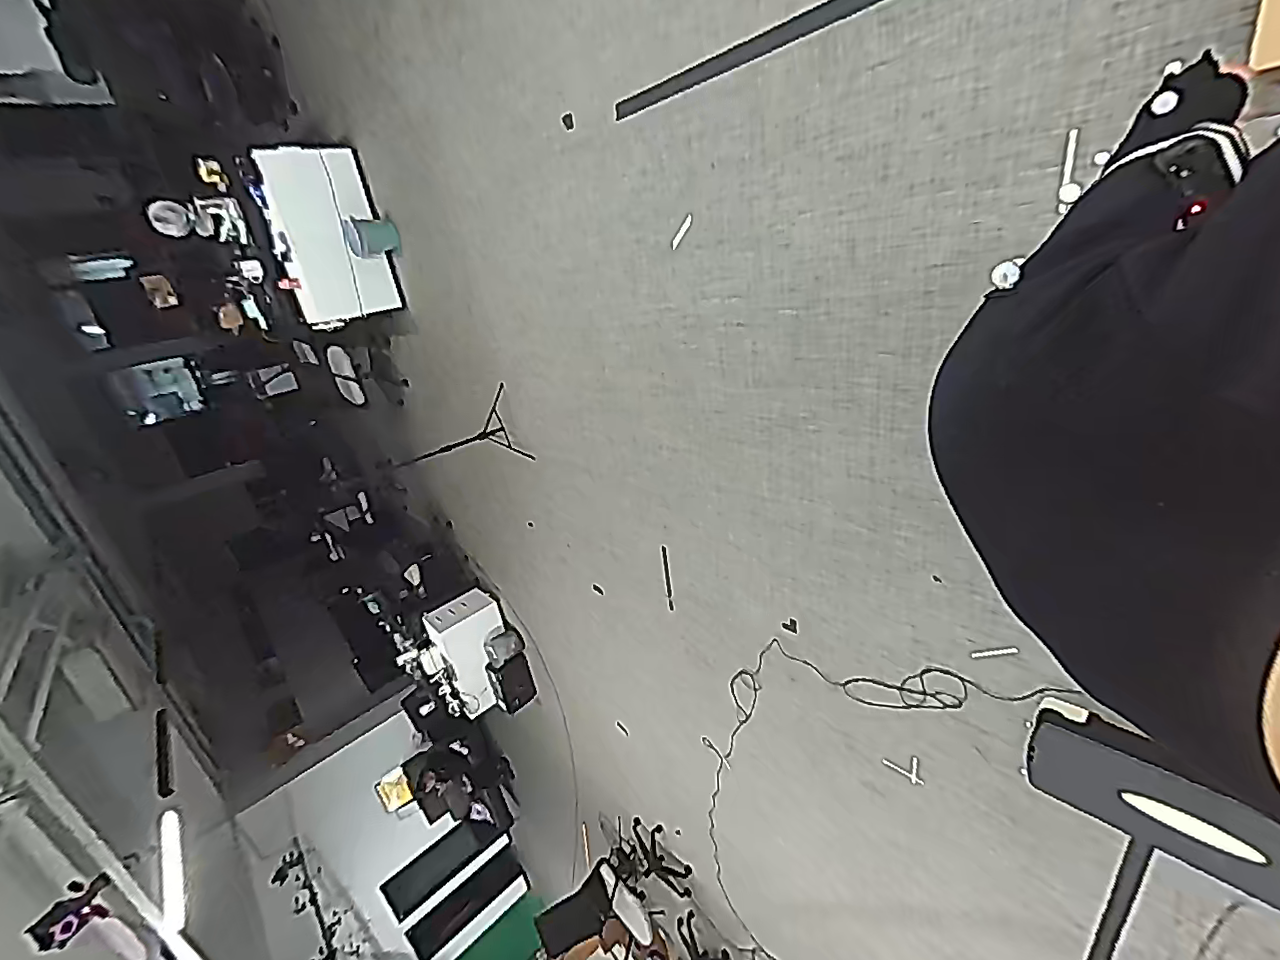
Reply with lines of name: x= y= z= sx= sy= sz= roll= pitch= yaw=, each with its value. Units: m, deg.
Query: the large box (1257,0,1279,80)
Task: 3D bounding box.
large box: x=1.018 y=-0.705 z=0.600 sx=0.408 sy=0.320 sz=0.320 roll=14 pitch=123 yaw=46
